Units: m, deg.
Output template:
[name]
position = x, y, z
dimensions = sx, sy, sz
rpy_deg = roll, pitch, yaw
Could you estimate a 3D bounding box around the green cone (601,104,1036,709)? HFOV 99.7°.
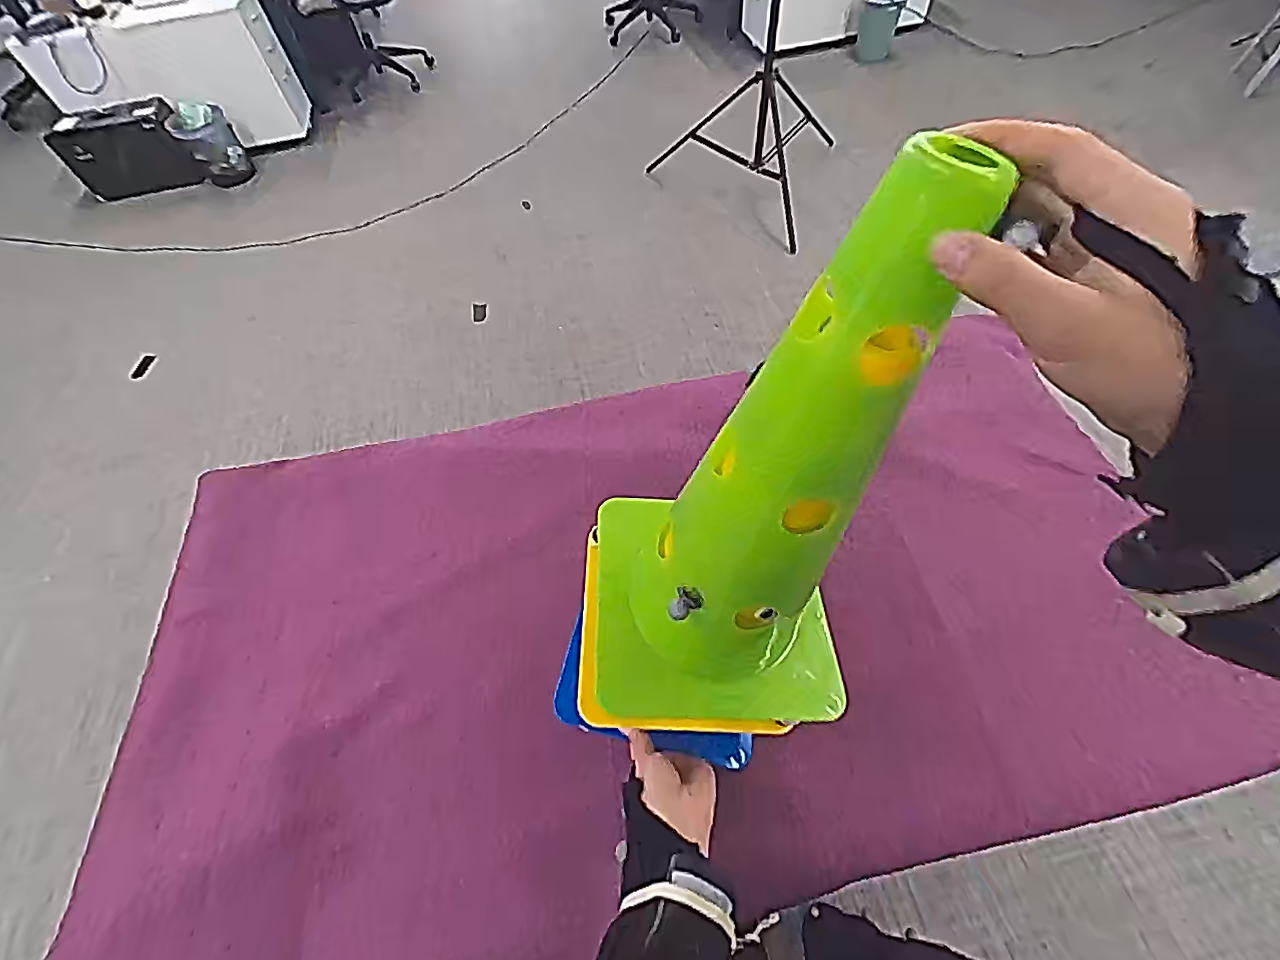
[green cone]
position = 0.089, -0.015, 0.328
dimensions = 0.200, 0.368, 0.202
rpy_deg = 3, 52, -8
